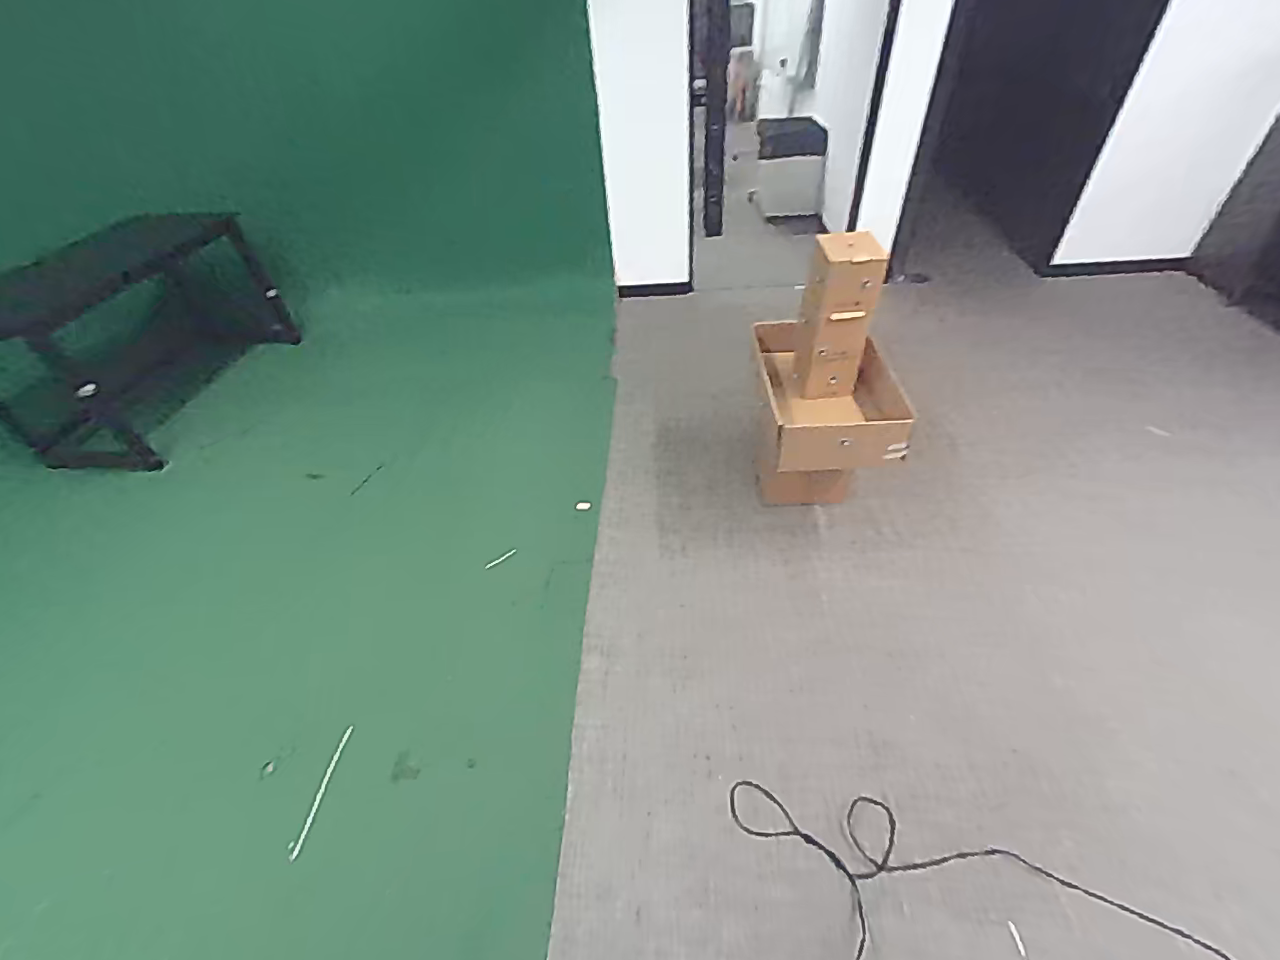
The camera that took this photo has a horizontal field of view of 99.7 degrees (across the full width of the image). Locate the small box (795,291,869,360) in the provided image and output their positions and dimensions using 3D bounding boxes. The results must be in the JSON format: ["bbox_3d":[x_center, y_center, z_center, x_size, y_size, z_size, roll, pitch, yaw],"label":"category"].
[{"bbox_3d":[0.611,-0.499,1.743,0.168,0.176,0.179,-6,46,-1],"label":"small box"}]

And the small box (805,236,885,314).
[{"bbox_3d":[0.609,-0.611,1.625,0.168,0.176,0.179,-3,47,1],"label":"small box"}]
